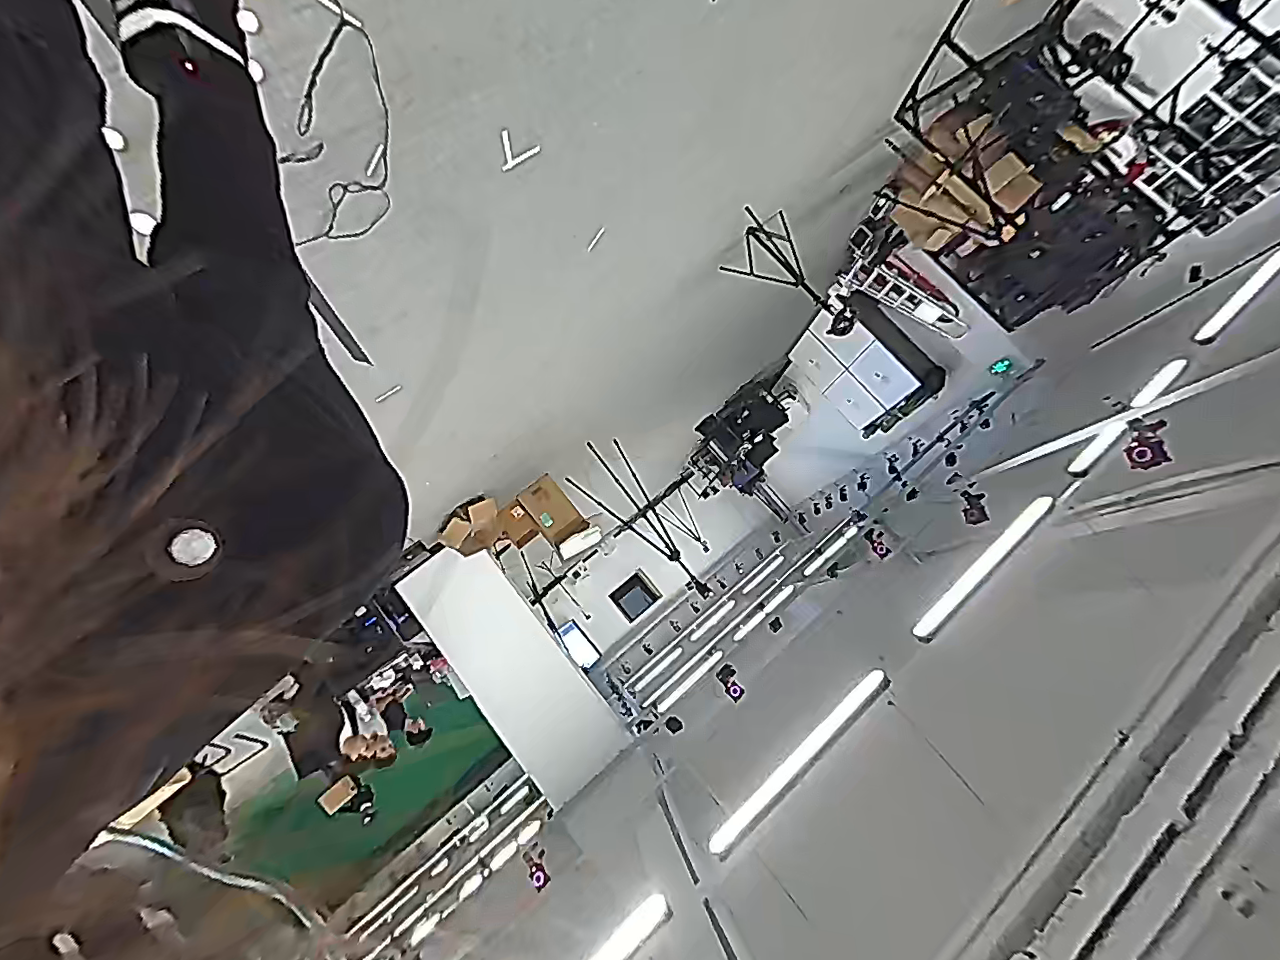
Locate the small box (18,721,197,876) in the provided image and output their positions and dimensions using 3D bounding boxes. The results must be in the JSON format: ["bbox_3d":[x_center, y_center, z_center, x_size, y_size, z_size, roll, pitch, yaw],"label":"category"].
[{"bbox_3d":[-1.060,0.618,1.077,0.179,0.176,0.168,-40,171,-7],"label":"small box"}]
